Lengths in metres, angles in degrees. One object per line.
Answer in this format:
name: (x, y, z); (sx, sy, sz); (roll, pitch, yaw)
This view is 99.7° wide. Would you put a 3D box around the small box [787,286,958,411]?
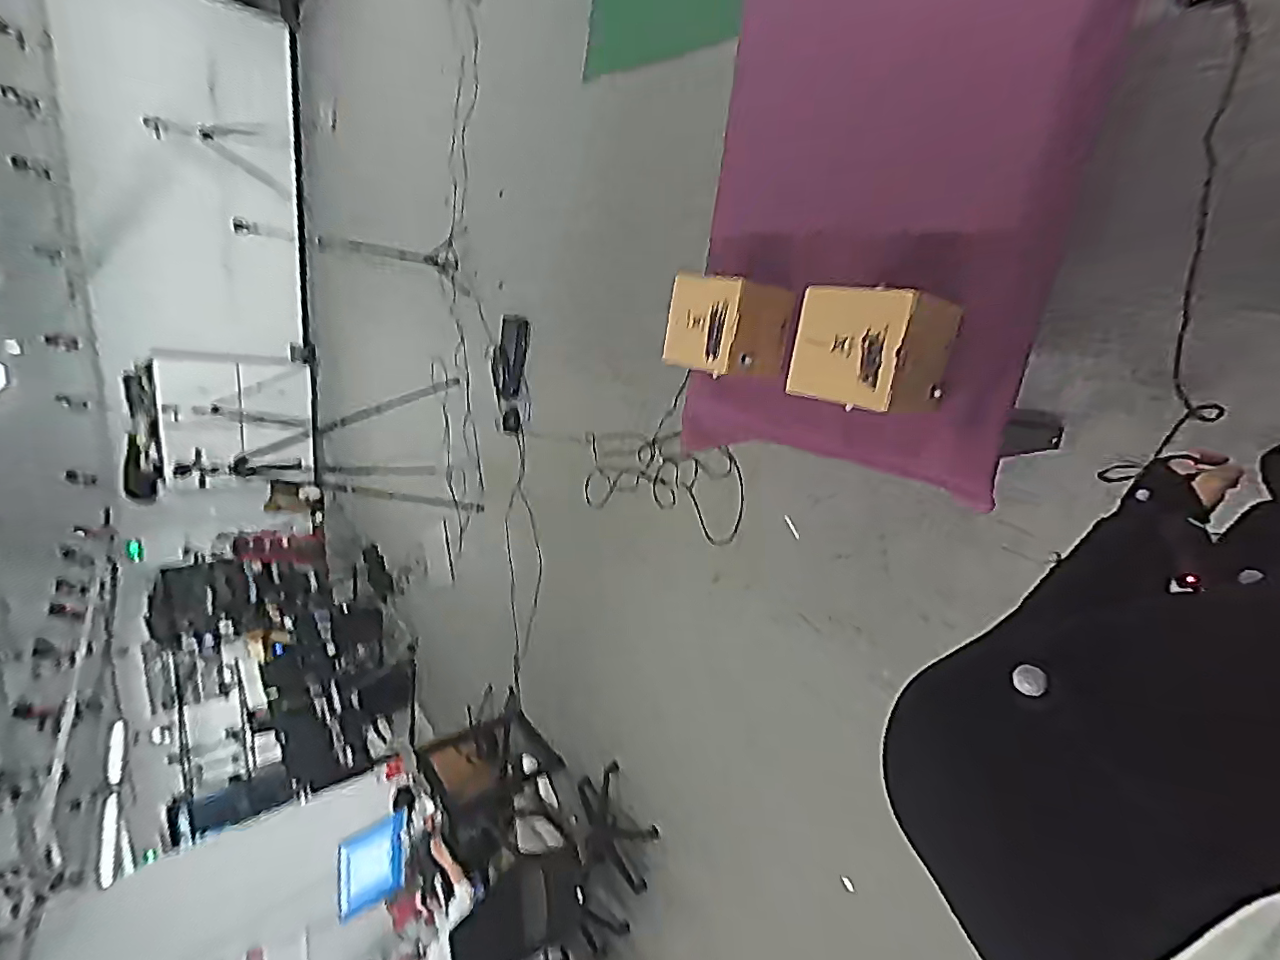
small box: (0.367, -0.208, 0.854); (0.179, 0.176, 0.168); (24, 113, 46)
